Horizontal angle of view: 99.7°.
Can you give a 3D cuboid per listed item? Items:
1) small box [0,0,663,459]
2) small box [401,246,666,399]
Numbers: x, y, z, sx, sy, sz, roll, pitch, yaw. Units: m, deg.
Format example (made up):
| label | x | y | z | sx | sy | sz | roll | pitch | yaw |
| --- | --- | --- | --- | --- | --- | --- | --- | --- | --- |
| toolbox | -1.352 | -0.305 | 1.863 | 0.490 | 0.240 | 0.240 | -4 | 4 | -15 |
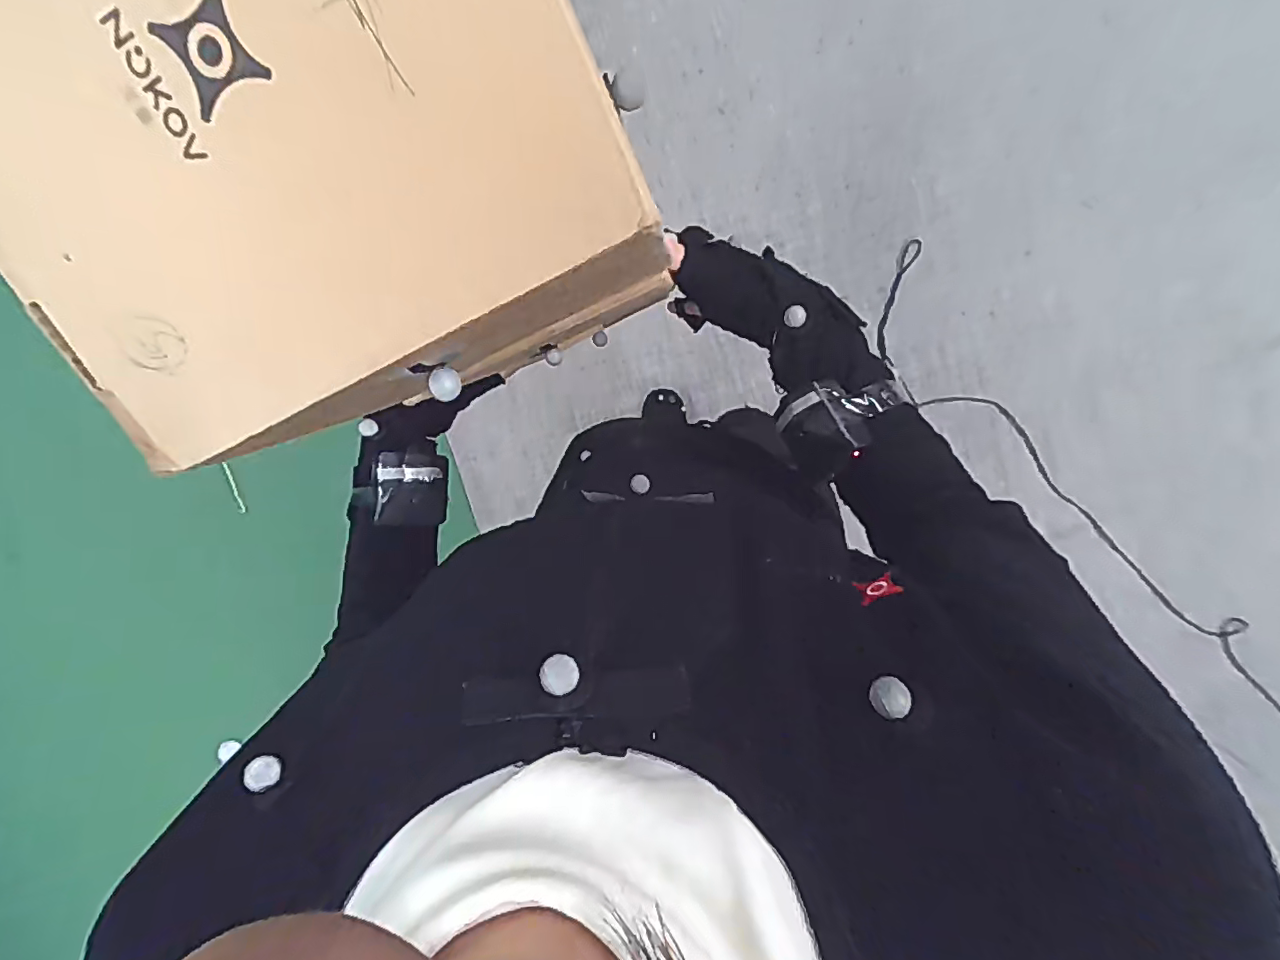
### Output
| label | x | y | z | sx | sy | sz | roll | pitch | yaw |
| --- | --- | --- | --- | --- | --- | --- | --- | --- | --- |
| small box | -0.101 | -0.132 | 0.215 | 0.179 | 0.176 | 0.168 | -23 | 106 | 11 |
| small box | -0.090 | -0.175 | 0.370 | 0.179 | 0.176 | 0.168 | -21 | 105 | 13 |
